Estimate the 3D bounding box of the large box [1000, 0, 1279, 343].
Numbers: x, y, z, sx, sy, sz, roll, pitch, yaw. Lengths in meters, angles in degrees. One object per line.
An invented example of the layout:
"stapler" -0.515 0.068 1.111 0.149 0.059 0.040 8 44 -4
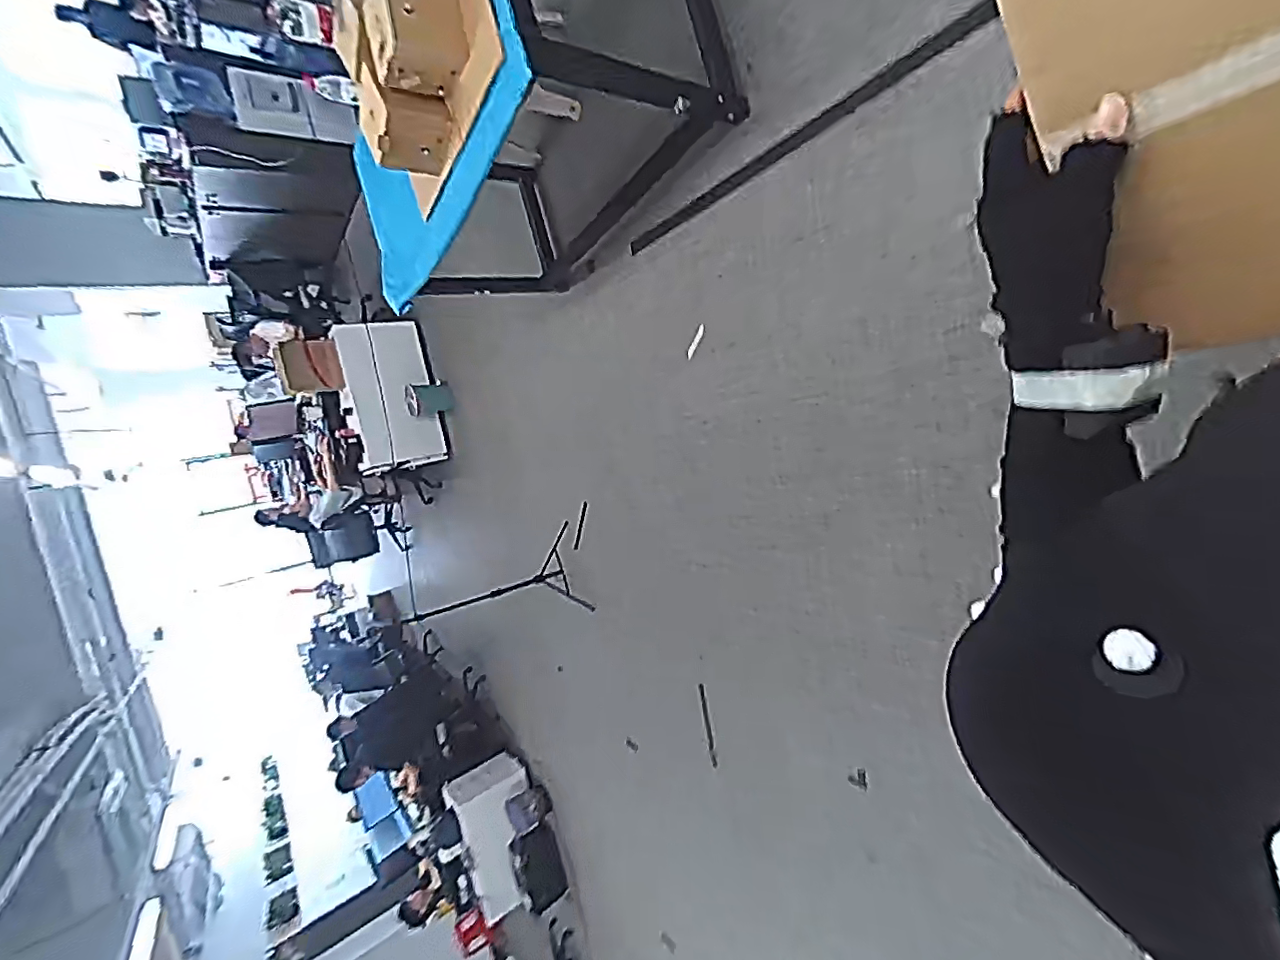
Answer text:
"large box" 0.454 -0.316 0.239 0.320 0.320 0.408 51 153 -22
